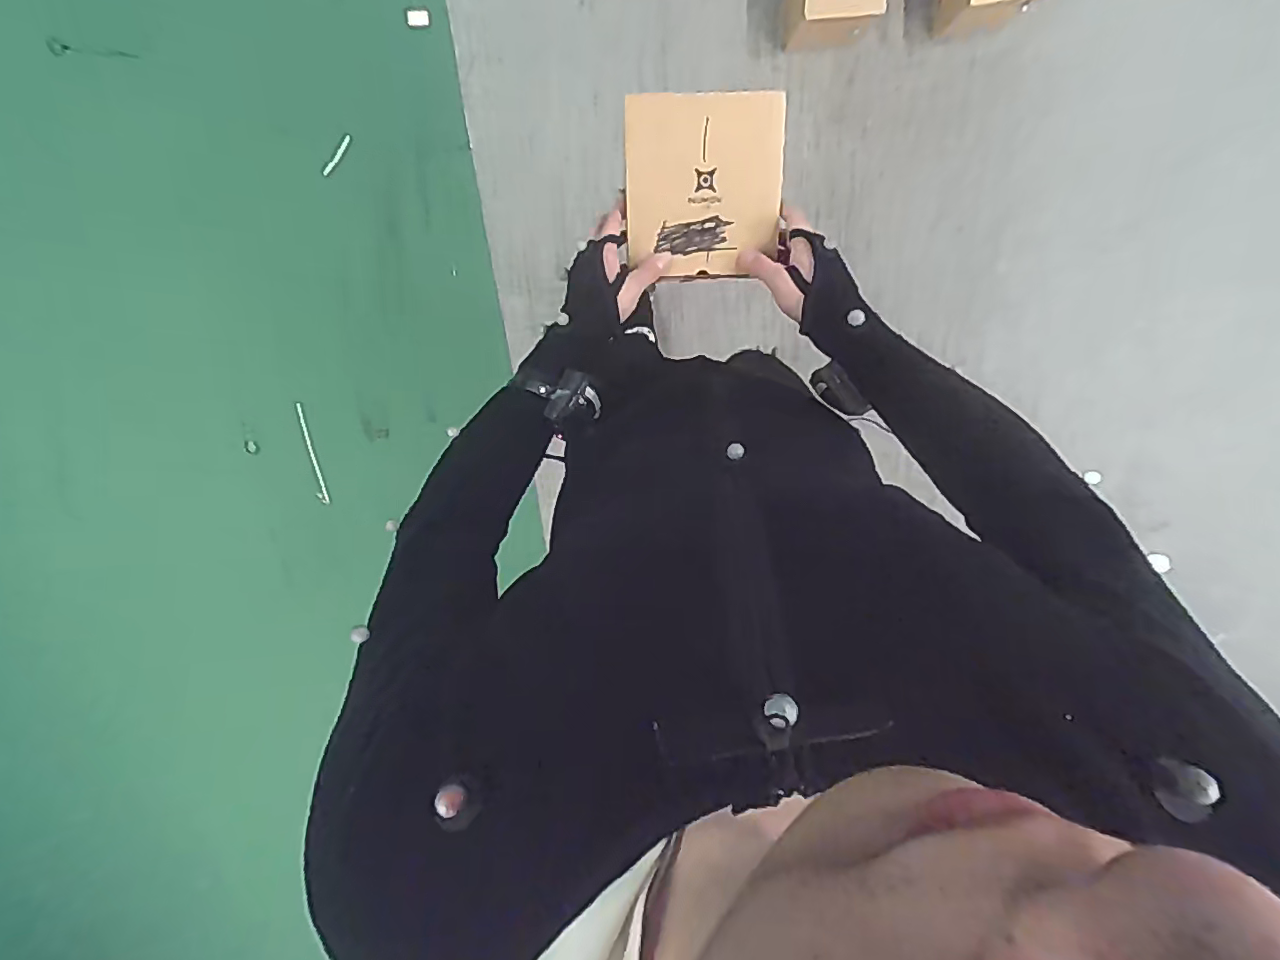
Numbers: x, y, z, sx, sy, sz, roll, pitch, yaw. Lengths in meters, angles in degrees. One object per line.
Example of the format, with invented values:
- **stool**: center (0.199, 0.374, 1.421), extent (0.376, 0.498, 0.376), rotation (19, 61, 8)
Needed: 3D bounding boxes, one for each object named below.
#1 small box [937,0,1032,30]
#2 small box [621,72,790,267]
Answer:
- **small box**: center (0.770, -1.112, 1.168), extent (0.179, 0.176, 0.168), rotation (-7, 109, 2)
- **small box**: center (0.063, -0.342, 0.627), extent (0.168, 0.176, 0.179), rotation (-2, 110, -1)
